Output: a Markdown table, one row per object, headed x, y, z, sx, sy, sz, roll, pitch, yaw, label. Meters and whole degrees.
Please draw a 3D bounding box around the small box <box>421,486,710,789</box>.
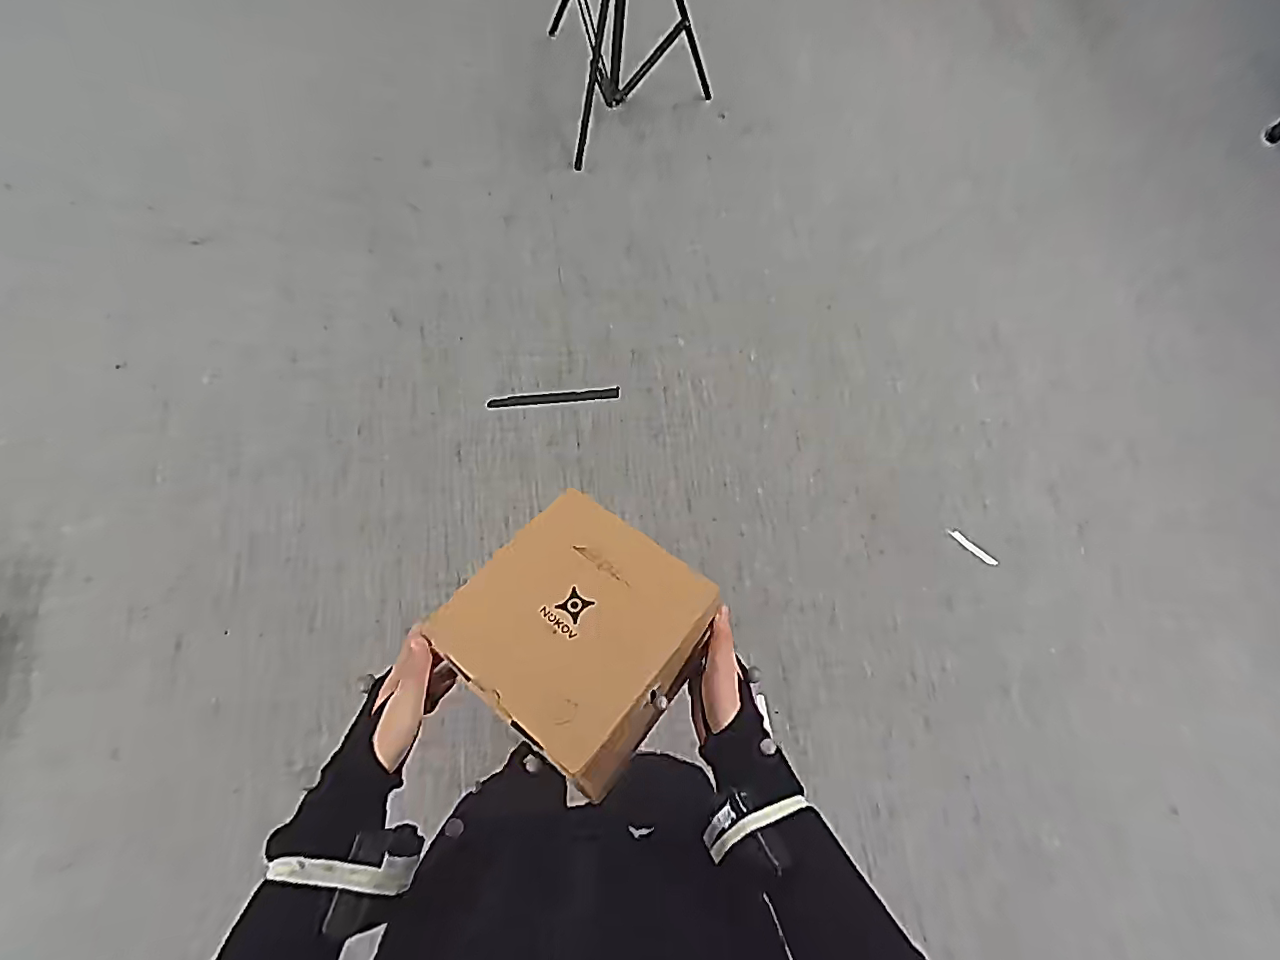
| x | y | z | sx | sy | sz | roll | pitch | yaw | label |
| --- | --- | --- | --- | --- | --- | --- | --- | --- | --- |
| -0.054 | 0.146 | 0.491 | 0.168 | 0.176 | 0.179 | 30 | 59 | 21 | small box |
